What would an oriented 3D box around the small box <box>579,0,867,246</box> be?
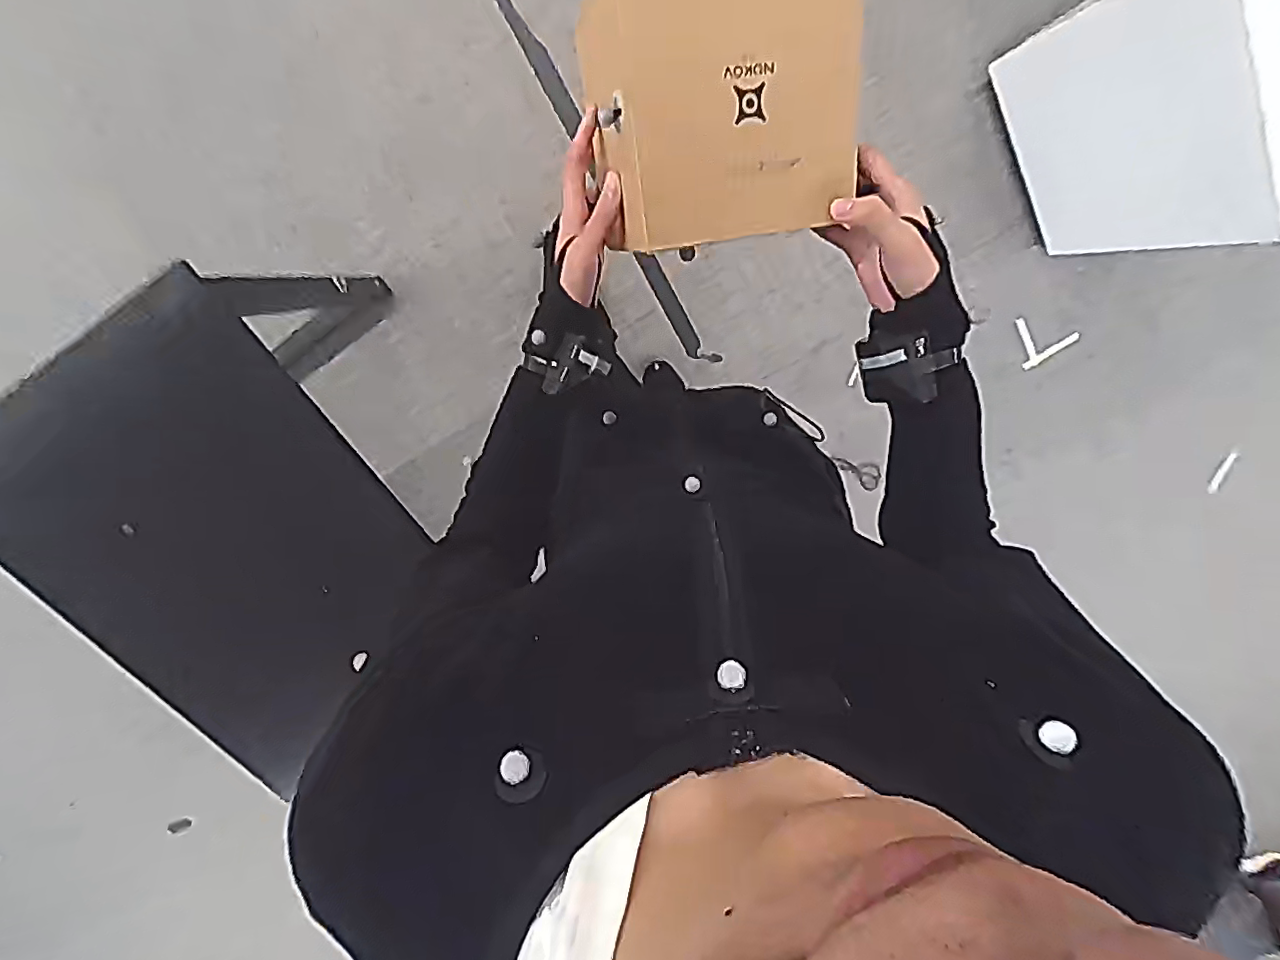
[{"bbox_3d":[0.053,-0.289,0.426,0.168,0.176,0.179,-12,115,-10],"label":"small box"}]
